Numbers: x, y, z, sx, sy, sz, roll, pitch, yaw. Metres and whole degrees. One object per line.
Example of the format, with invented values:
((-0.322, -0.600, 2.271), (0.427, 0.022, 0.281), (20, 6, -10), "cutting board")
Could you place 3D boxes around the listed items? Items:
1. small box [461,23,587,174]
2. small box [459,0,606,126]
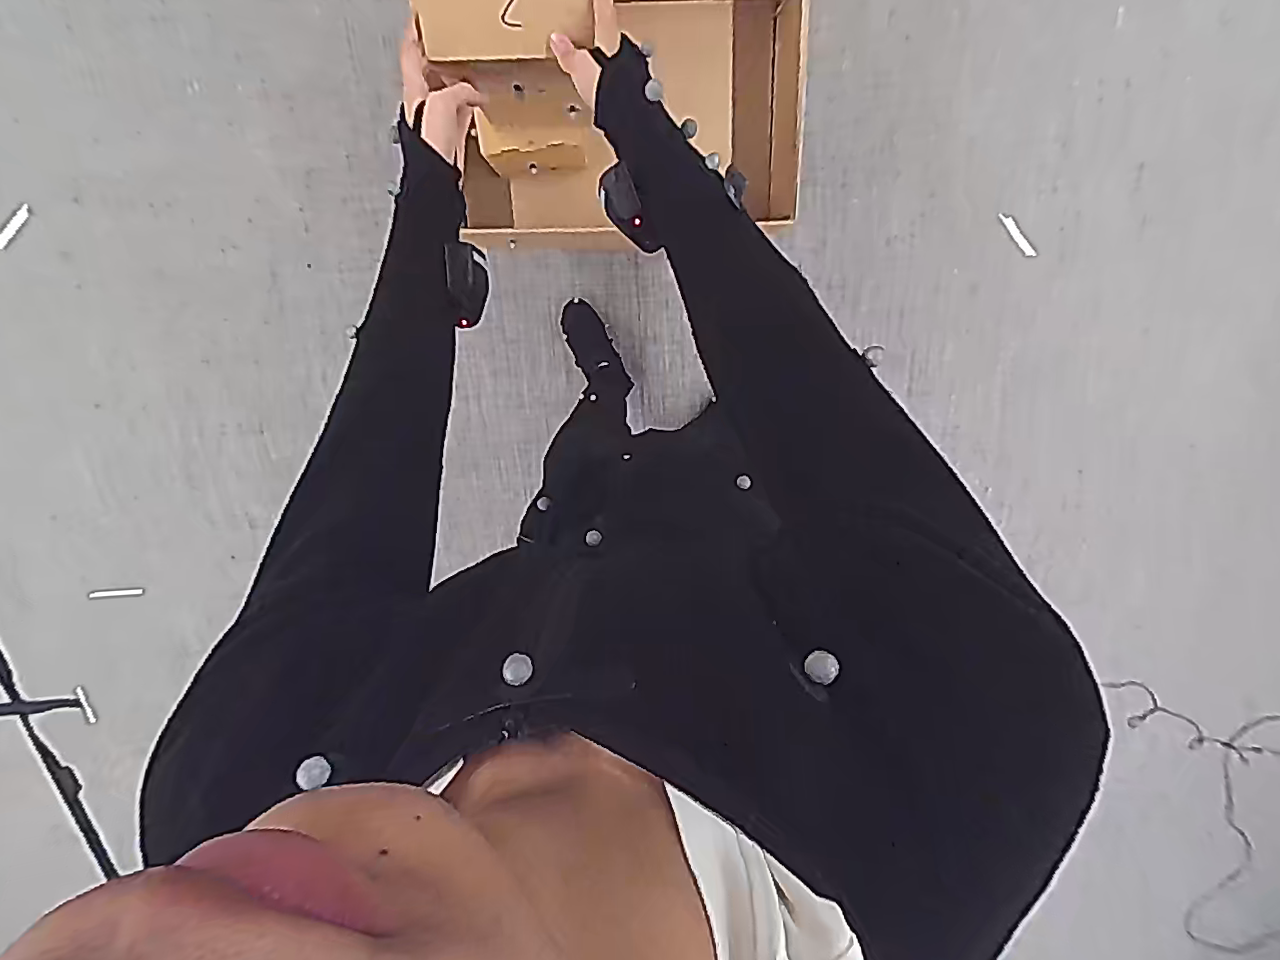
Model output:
((-0.182, -0.635, 0.903), (0.168, 0.176, 0.179), (-8, 109, -1), "small box")
((-0.141, -0.607, 0.742), (0.179, 0.176, 0.168), (-3, 108, -3), "small box")
